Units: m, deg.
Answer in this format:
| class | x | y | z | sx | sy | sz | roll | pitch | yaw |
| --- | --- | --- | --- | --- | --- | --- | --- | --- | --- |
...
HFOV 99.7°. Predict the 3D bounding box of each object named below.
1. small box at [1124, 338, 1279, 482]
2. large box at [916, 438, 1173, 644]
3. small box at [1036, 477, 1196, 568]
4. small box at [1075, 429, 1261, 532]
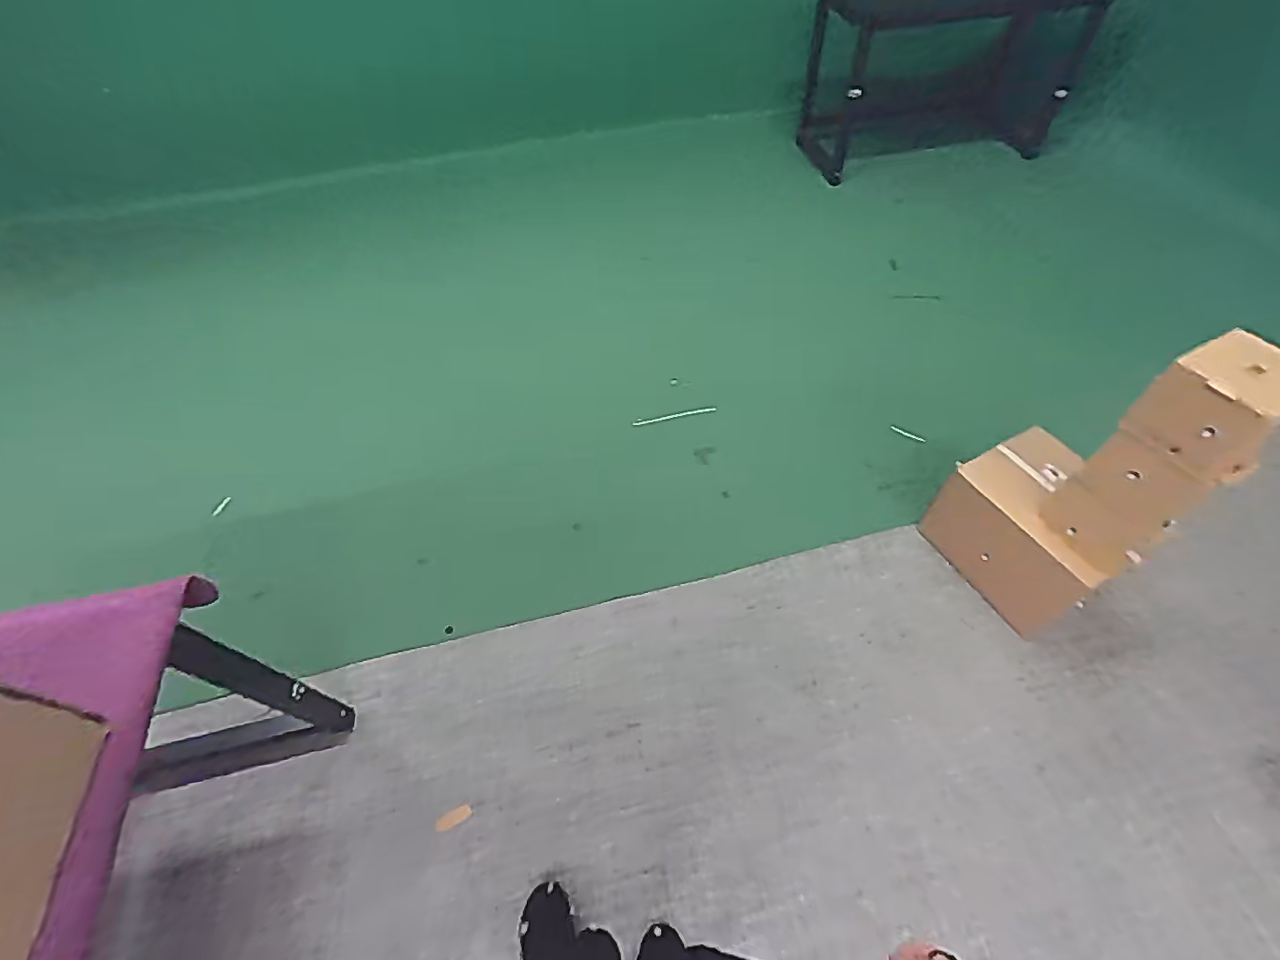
| class | x | y | z | sx | sy | sz | roll | pitch | yaw |
| --- | --- | --- | --- | --- | --- | --- | --- | --- | --- |
| small box | 1.051 | -0.124 | 0.989 | 0.179 | 0.176 | 0.168 | -23 | 54 | -13 |
| large box | 1.068 | 0.165 | 1.488 | 0.320 | 0.320 | 0.408 | -24 | 54 | -15 |
| small box | 1.077 | 0.083 | 1.242 | 0.168 | 0.176 | 0.179 | -20 | 54 | -11 |
| small box | 1.067 | -0.016 | 1.110 | 0.168 | 0.176 | 0.179 | -24 | 54 | -14 |
